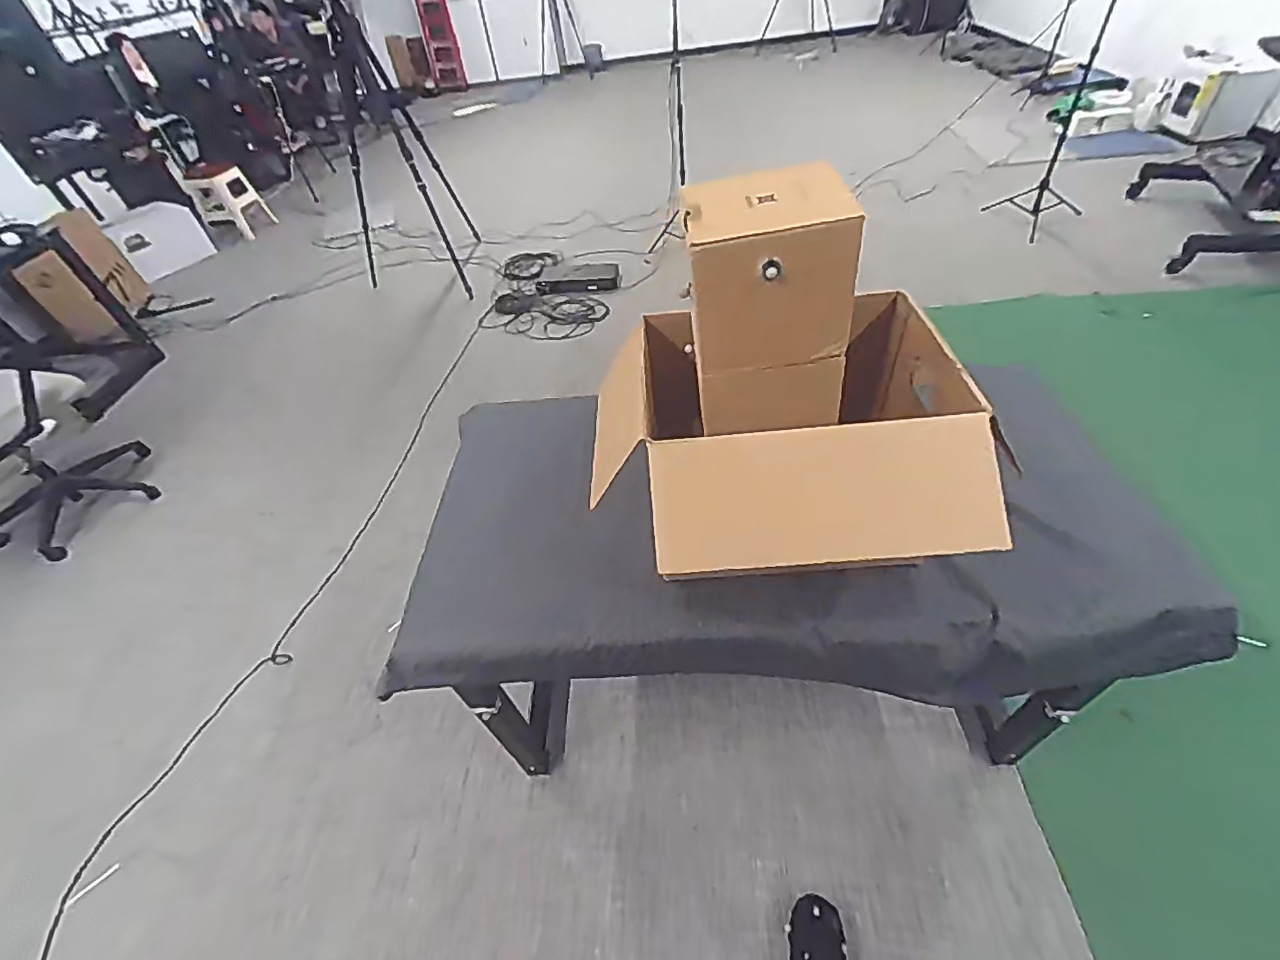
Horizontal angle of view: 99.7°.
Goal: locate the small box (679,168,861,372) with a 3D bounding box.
[{"bbox_3d":[0.146,-0.248,0.655,0.179,0.176,0.168,-7,48,5],"label":"small box"}]
